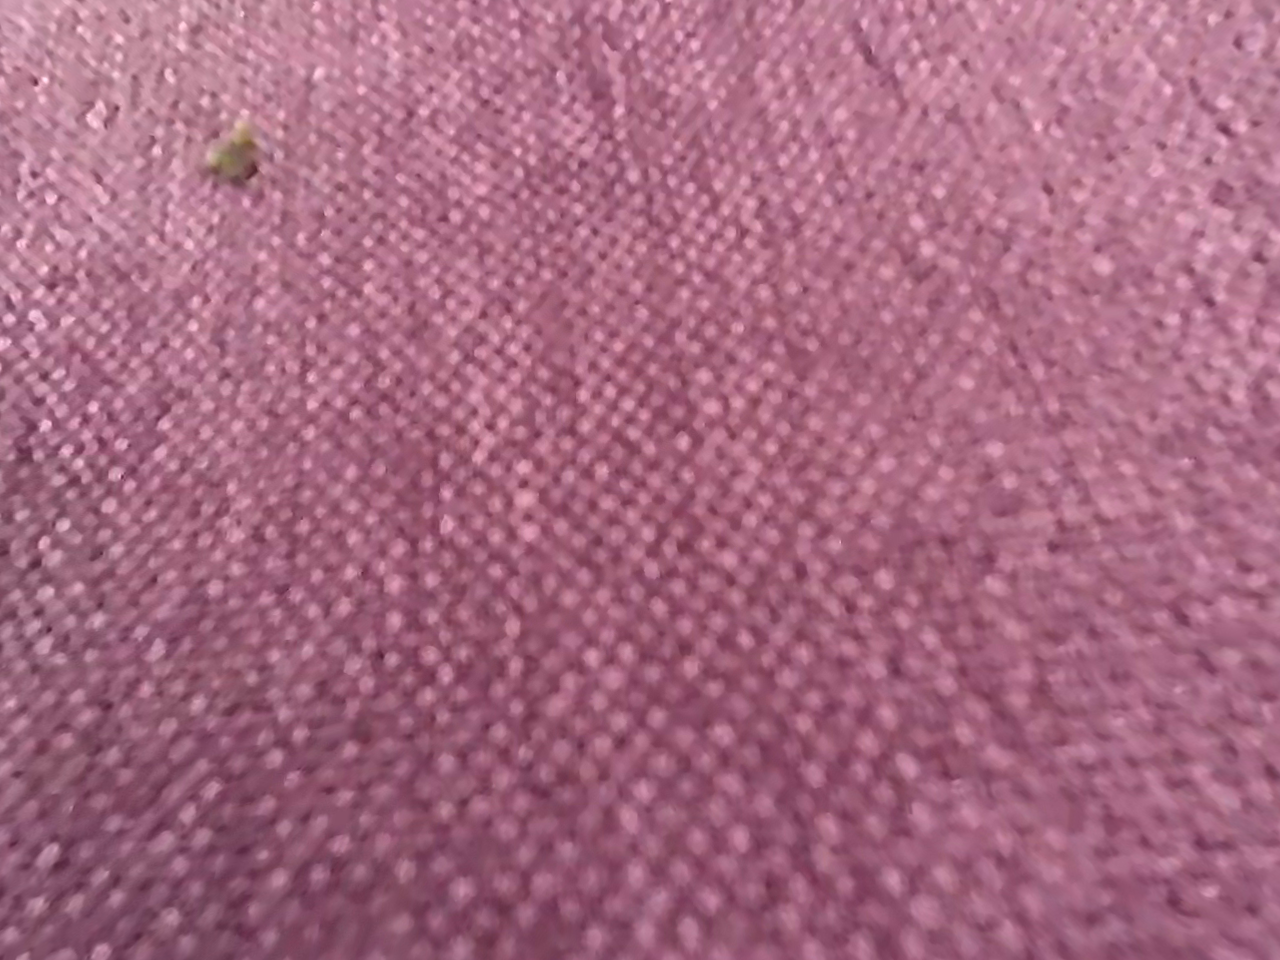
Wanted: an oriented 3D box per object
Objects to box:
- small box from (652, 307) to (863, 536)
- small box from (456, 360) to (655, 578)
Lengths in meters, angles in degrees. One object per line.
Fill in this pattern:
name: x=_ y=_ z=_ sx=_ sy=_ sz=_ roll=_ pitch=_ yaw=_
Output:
small box: x=0.115 y=-0.054 z=0.600 sx=0.168 sy=0.176 sz=0.179 roll=-15 pitch=72 yaw=2
small box: x=-0.085 y=-0.001 z=0.604 sx=0.168 sy=0.176 sz=0.179 roll=-15 pitch=73 yaw=1
